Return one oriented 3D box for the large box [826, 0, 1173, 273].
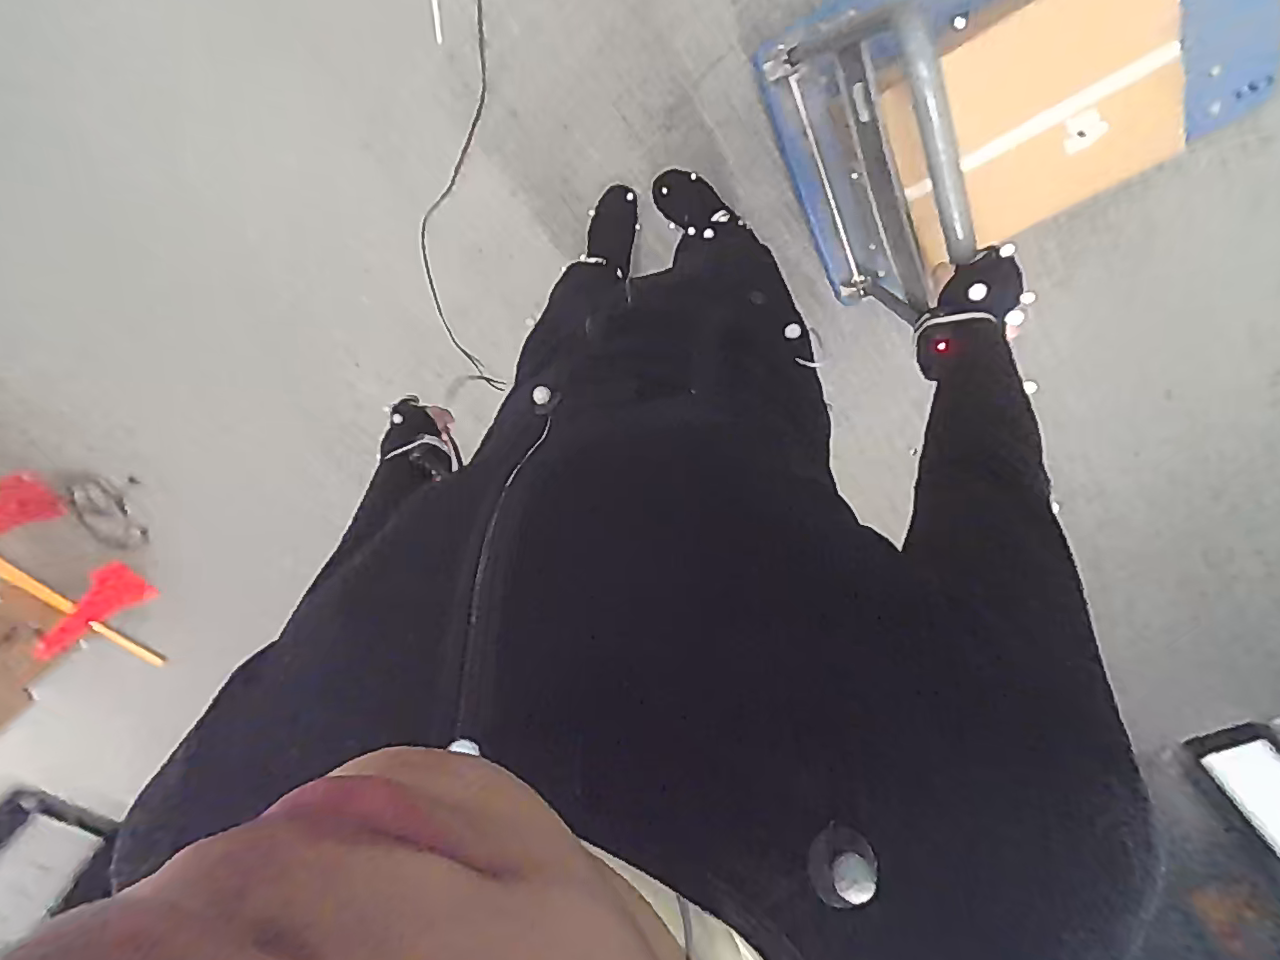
[{"bbox_3d":[0.615,-0.646,0.985,0.408,0.320,0.320,-25,120,17],"label":"large box"}]
